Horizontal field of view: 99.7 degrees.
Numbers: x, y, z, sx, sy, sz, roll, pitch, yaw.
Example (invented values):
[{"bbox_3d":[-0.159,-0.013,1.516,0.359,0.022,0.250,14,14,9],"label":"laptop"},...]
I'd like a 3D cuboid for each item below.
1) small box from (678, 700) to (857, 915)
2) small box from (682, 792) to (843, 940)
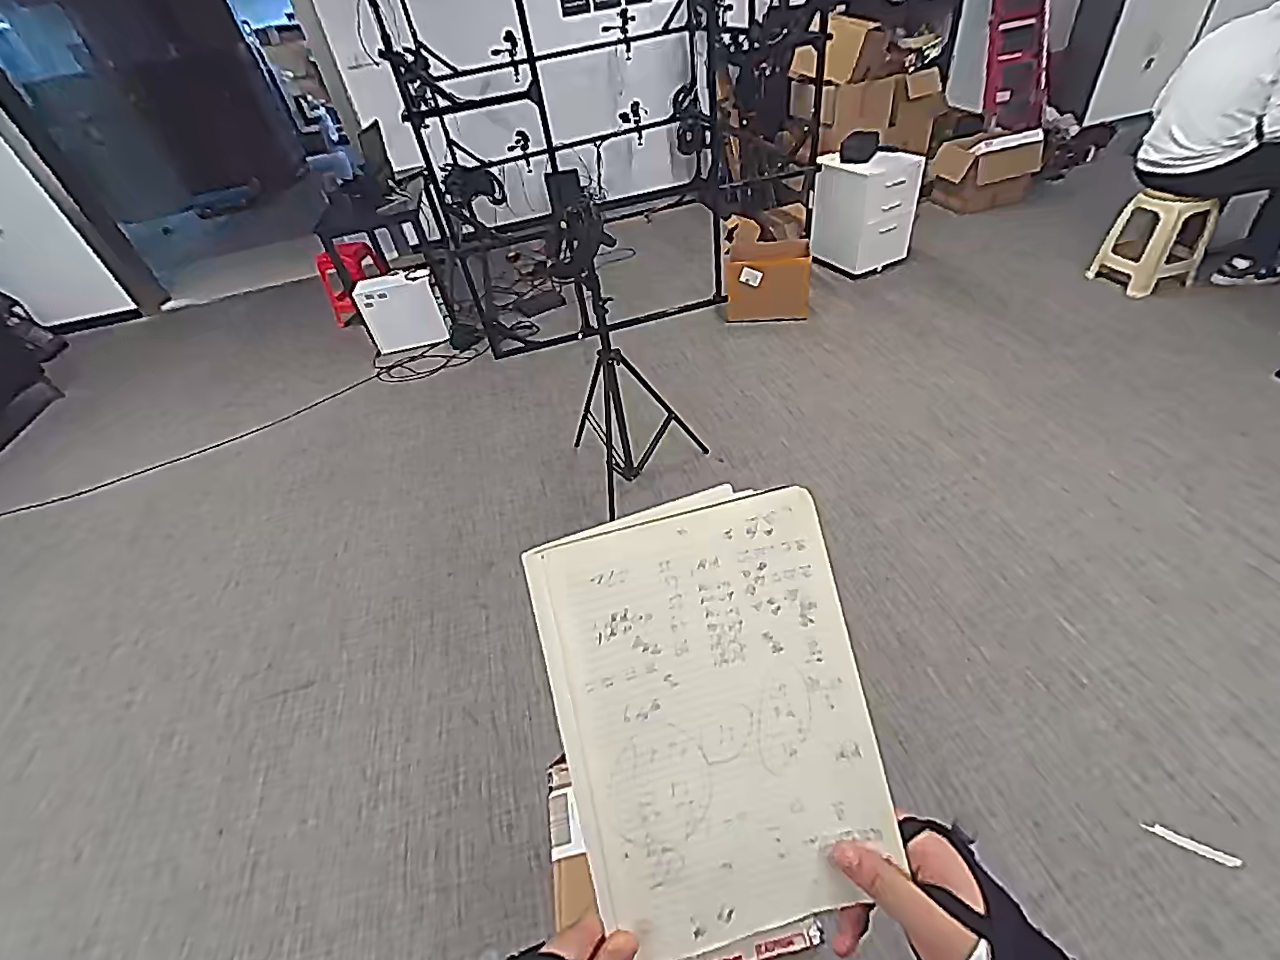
[{"bbox_3d":[0.152,0.426,0.708,0.168,0.176,0.179,-13,42,-7],"label":"small box"},{"bbox_3d":[0.172,0.551,0.812,0.179,0.176,0.168,-16,43,-8],"label":"small box"}]
